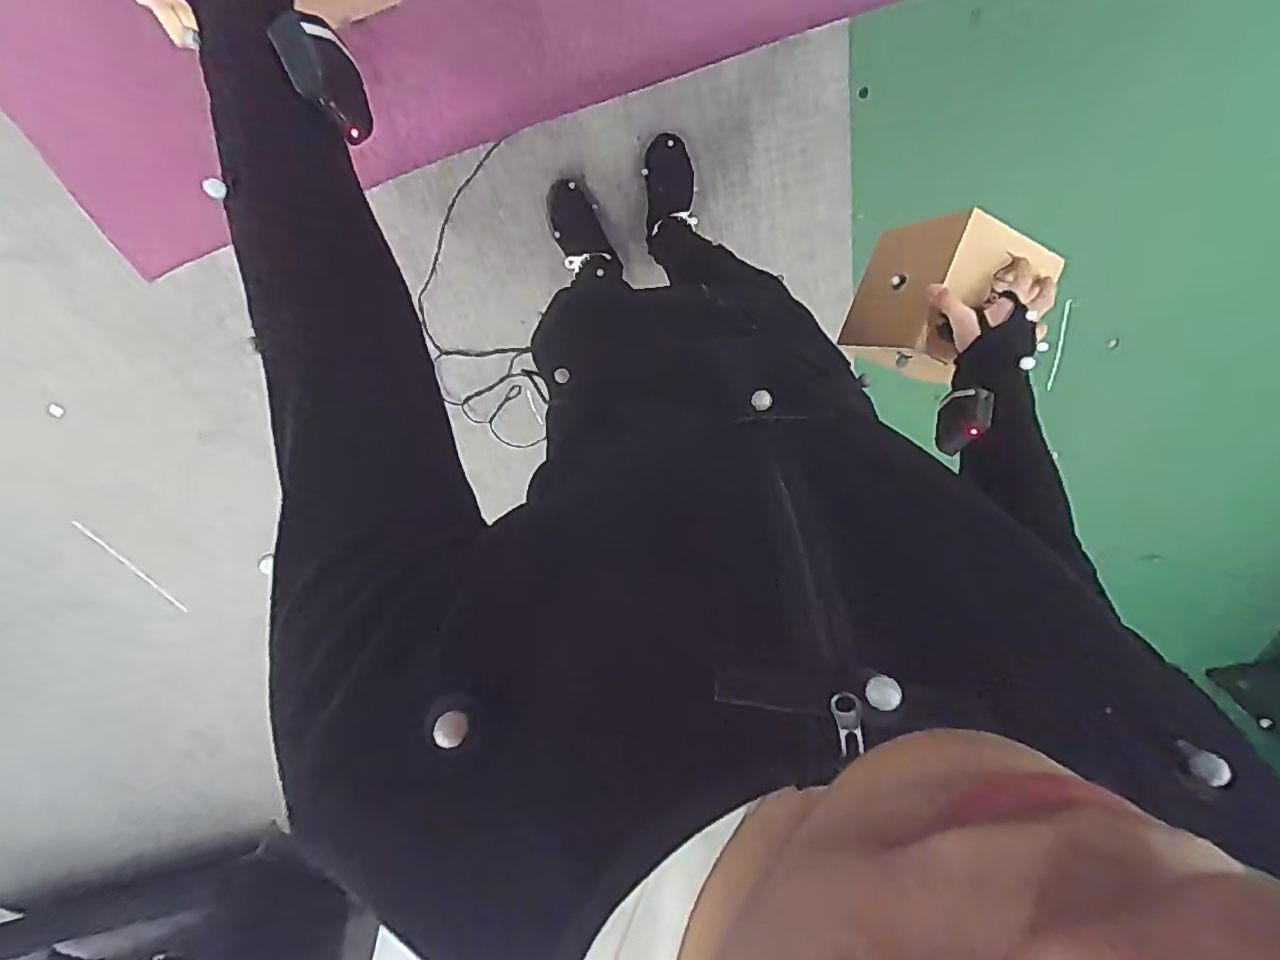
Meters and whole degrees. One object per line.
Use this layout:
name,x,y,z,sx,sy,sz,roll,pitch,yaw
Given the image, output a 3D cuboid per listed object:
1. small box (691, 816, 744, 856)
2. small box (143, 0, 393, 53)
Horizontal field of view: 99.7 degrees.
small box,0.271,1.226,1.966,0.168,0.176,0.179,-14,124,3
small box,-0.343,-0.495,0.458,0.168,0.176,0.179,-17,127,4
